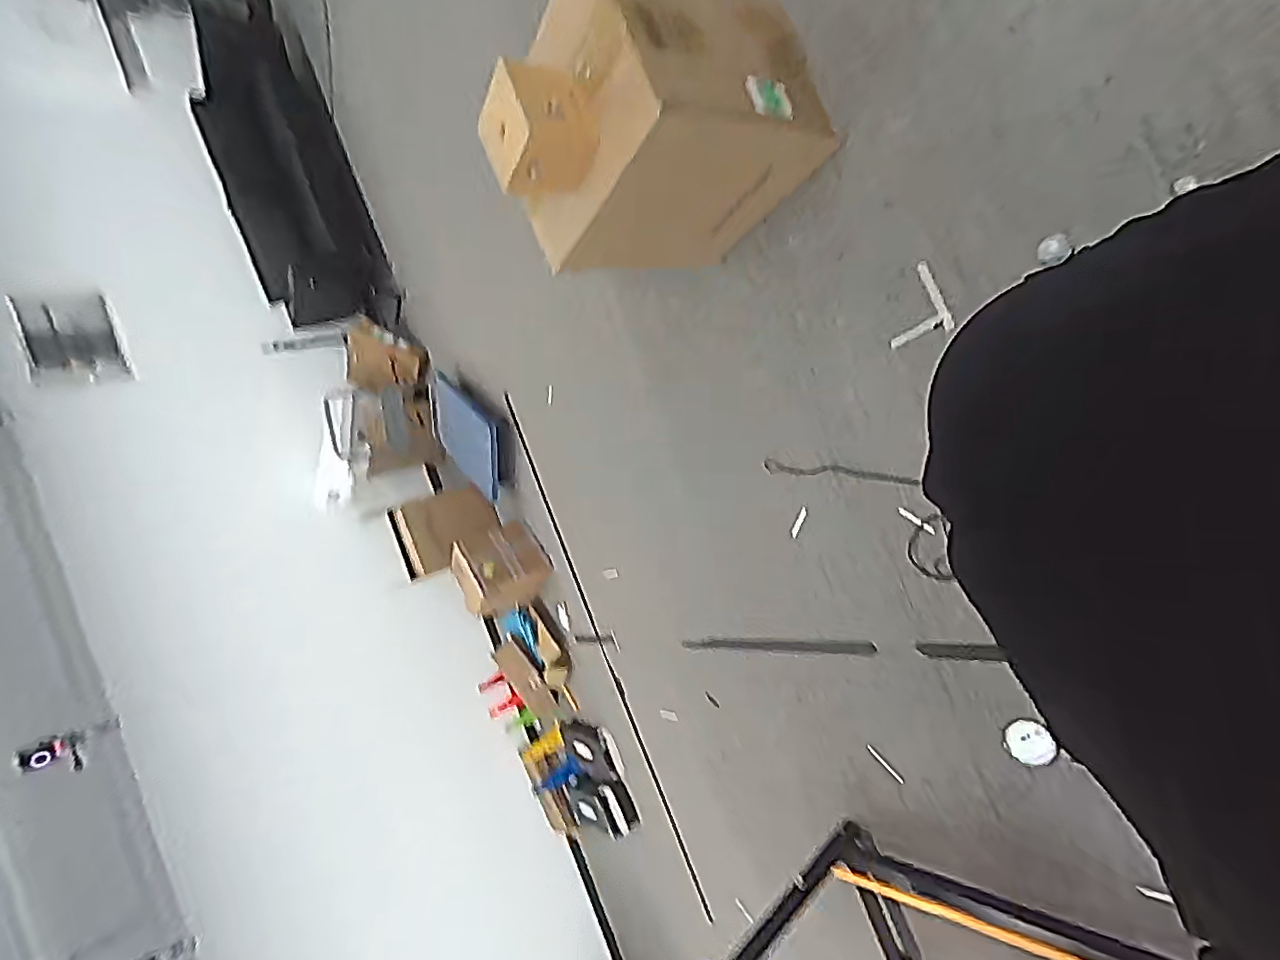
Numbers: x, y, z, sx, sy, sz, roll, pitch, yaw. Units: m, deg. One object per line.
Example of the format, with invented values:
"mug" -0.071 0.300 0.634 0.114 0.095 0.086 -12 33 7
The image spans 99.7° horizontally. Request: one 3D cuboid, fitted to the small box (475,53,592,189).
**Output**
"small box" -0.221 -0.750 1.147 0.179 0.176 0.168 -27 85 56
